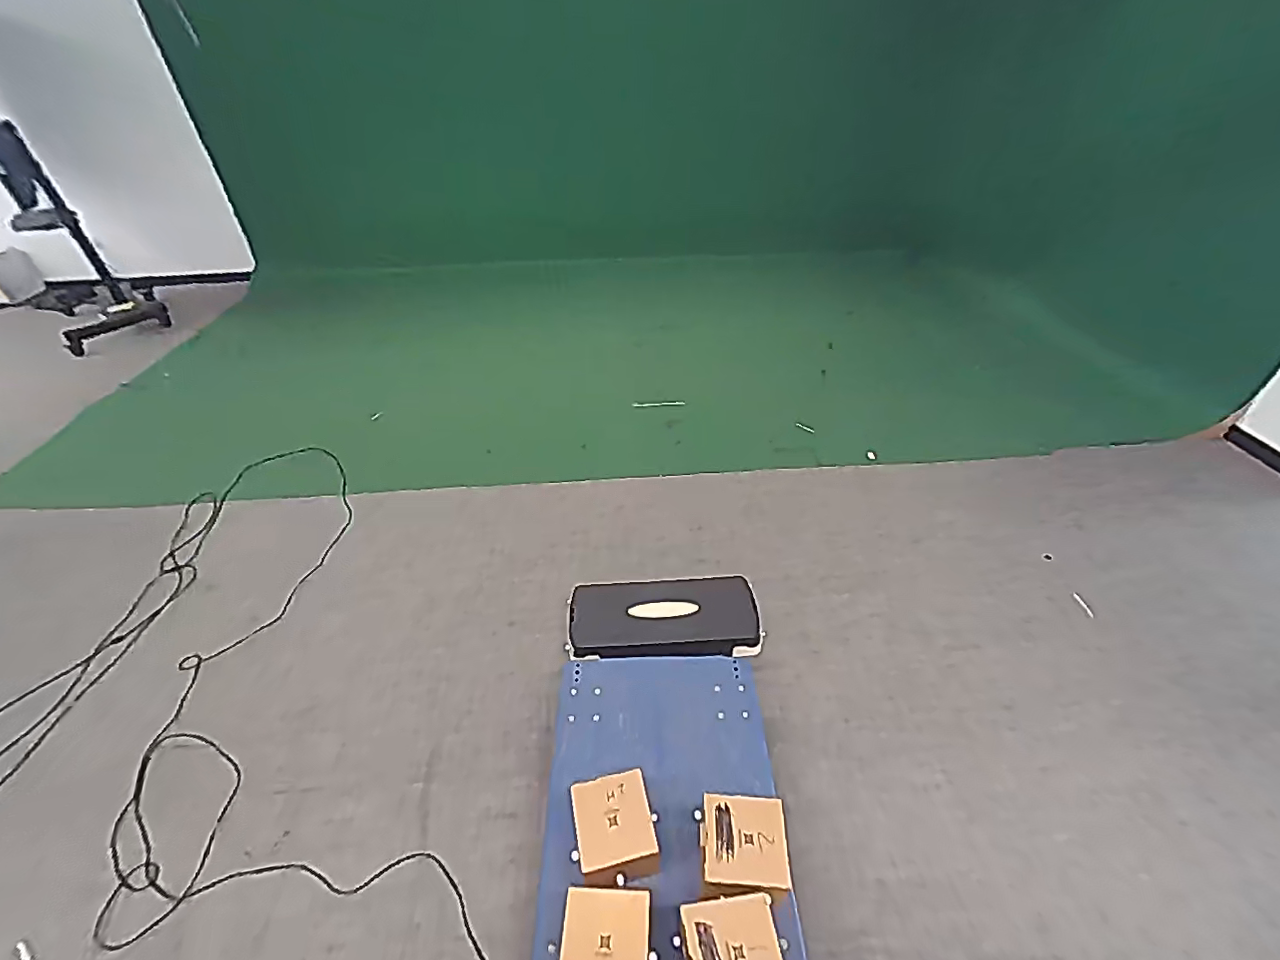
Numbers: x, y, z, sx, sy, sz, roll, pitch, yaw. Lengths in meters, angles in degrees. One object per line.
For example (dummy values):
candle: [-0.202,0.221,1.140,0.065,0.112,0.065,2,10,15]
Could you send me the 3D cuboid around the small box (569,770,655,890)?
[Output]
small box: [-0.063,0.798,1.228,0.168,0.176,0.179,-8,40,-10]
